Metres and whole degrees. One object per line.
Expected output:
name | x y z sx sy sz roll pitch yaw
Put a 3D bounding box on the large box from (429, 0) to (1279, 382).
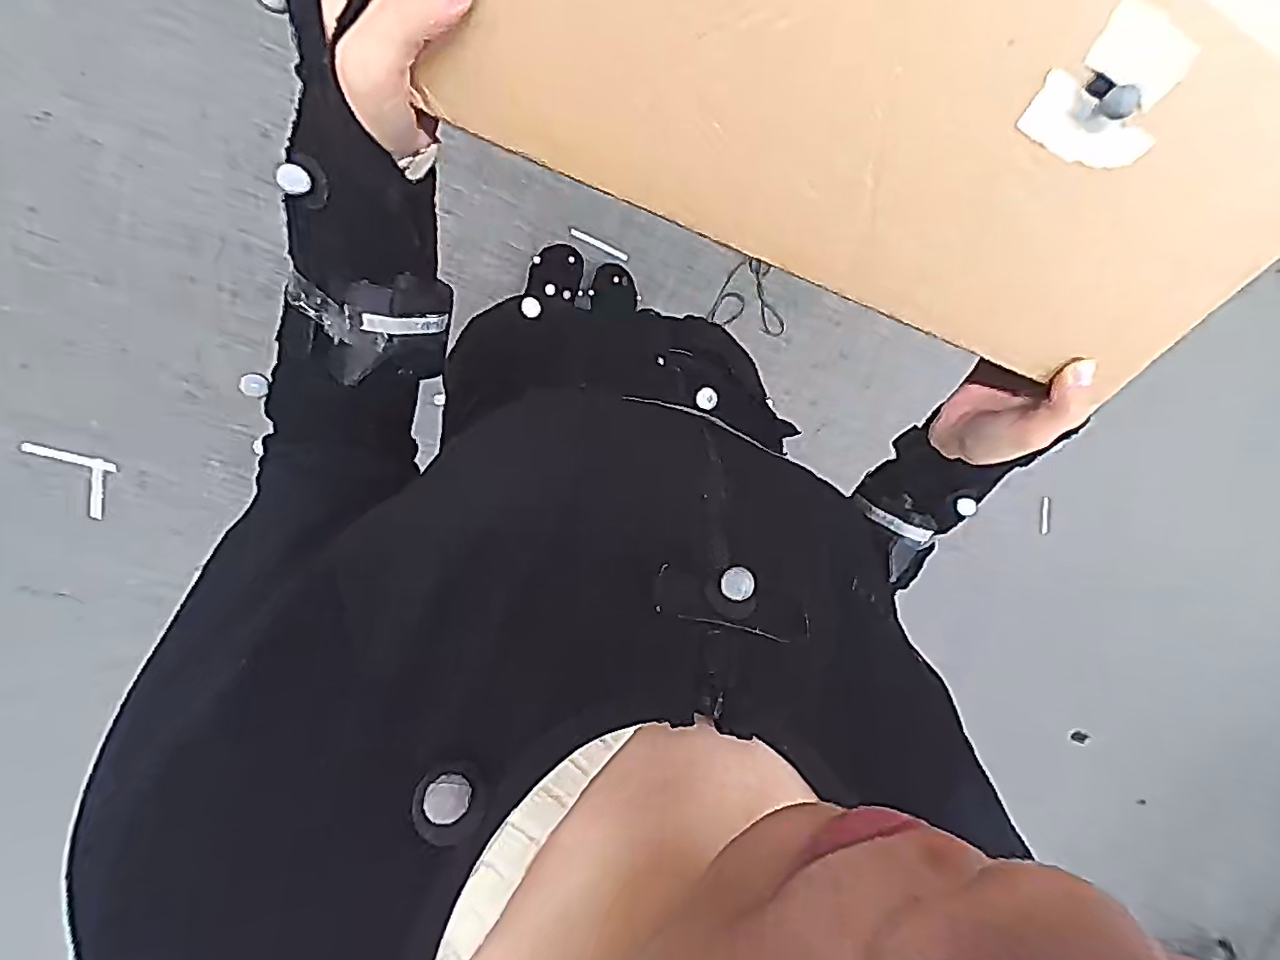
large box | 0.141 -0.313 0.299 0.408 0.320 0.320 16 131 -15
